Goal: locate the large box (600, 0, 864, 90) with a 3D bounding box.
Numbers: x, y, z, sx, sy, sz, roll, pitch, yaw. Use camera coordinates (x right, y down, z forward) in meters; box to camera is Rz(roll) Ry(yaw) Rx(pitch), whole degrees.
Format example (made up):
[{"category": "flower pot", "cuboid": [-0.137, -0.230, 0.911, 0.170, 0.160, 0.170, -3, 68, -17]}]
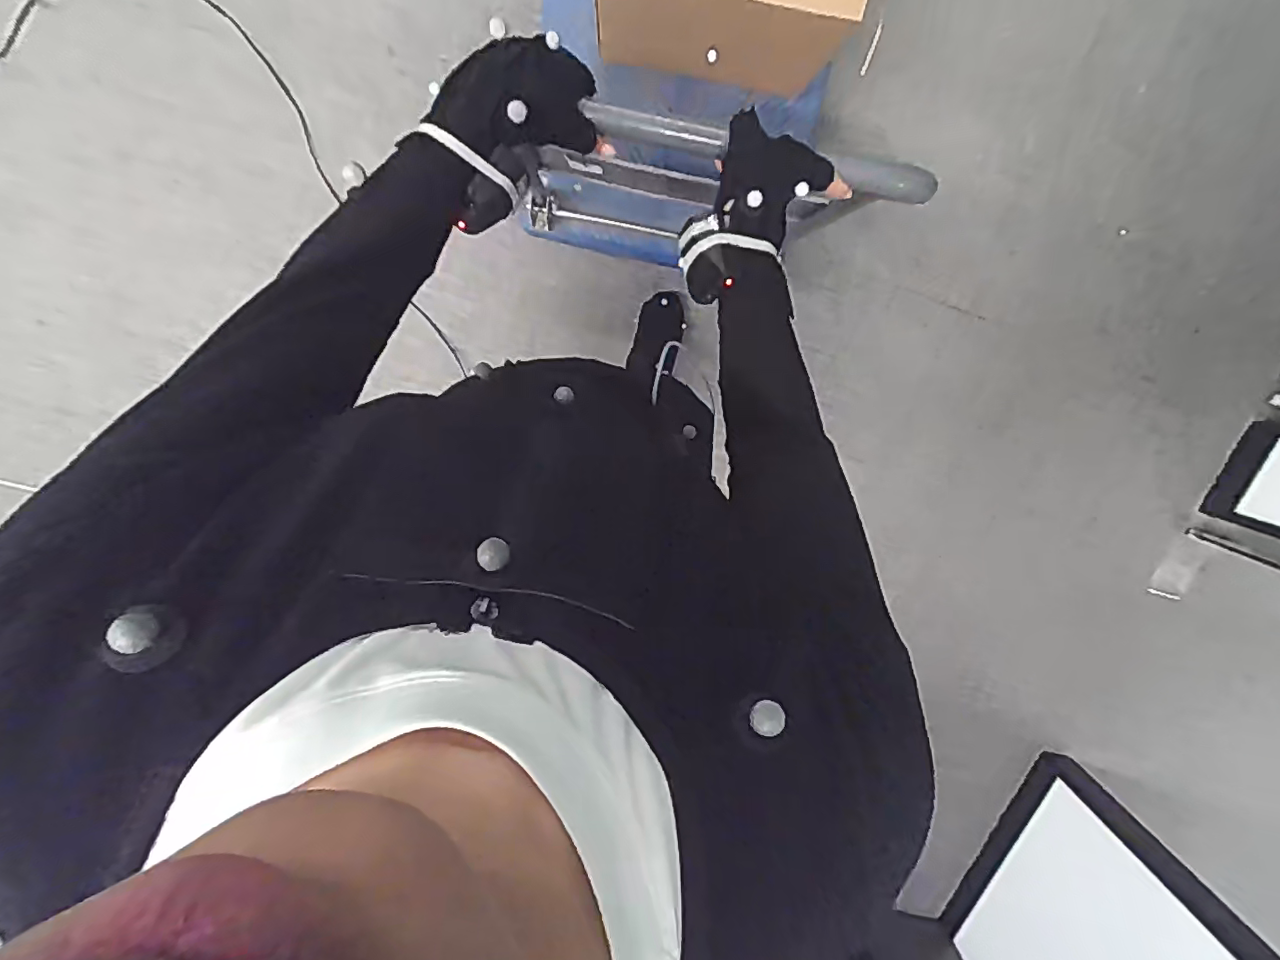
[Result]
[{"category": "large box", "cuboid": [0.152, -0.906, 0.897, 0.408, 0.320, 0.320, 7, 106, -5]}]
